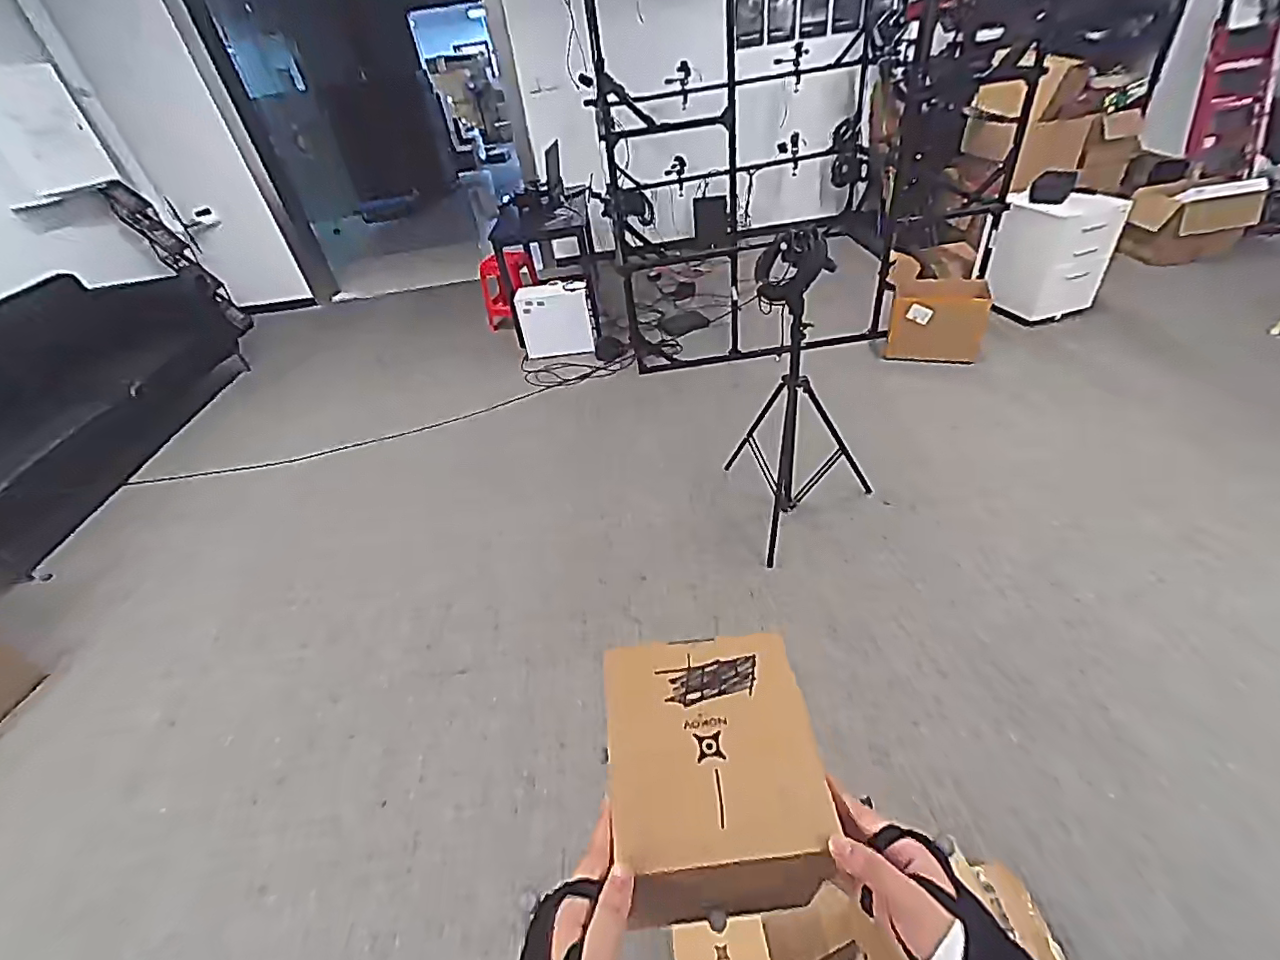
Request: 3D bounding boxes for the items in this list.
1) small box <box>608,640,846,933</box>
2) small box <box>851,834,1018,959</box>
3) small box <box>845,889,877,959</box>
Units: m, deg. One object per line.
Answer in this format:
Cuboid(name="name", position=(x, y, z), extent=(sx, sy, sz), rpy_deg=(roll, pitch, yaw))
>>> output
Cuboid(name="small box", position=(0.059, 0.273, 0.490), extent=(0.168, 0.176, 0.179), rpy_deg=(-5, 41, -3))
Cuboid(name="small box", position=(0.470, 0.732, 0.899), extent=(0.168, 0.176, 0.179), rpy_deg=(-12, 38, -3))
Cuboid(name="small box", position=(0.499, 0.857, 0.999), extent=(0.168, 0.176, 0.179), rpy_deg=(-9, 39, -2))
